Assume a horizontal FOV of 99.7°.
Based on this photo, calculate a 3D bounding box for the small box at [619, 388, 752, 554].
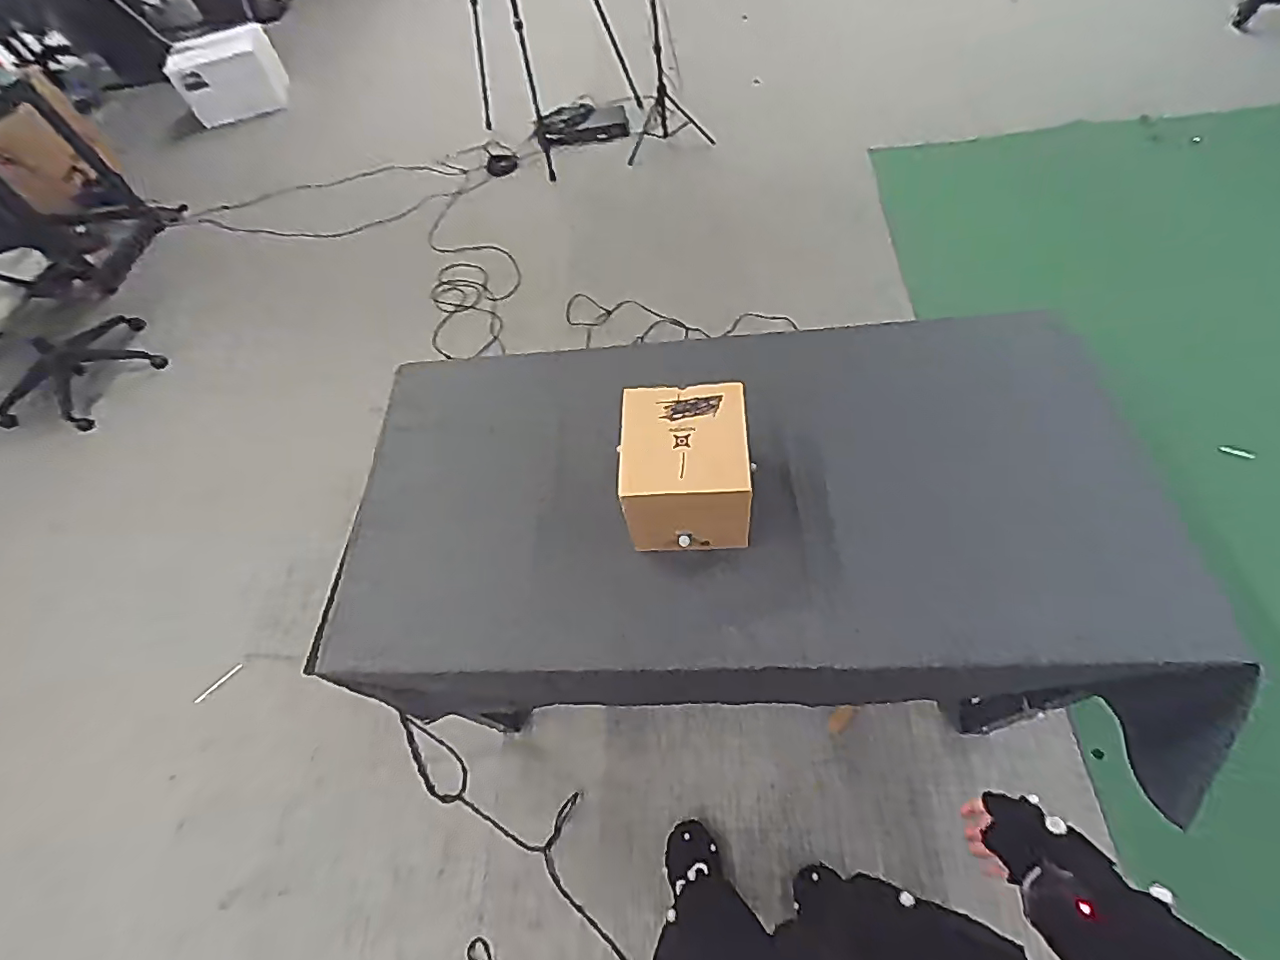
[{"bbox_3d":[0.068,-0.008,0.772,0.168,0.176,0.179,-2,57,8],"label":"small box"}]

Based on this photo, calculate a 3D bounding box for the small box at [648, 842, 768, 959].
[{"bbox_3d":[0.134,0.860,1.090,0.179,0.176,0.168,7,67,35],"label":"small box"}]
